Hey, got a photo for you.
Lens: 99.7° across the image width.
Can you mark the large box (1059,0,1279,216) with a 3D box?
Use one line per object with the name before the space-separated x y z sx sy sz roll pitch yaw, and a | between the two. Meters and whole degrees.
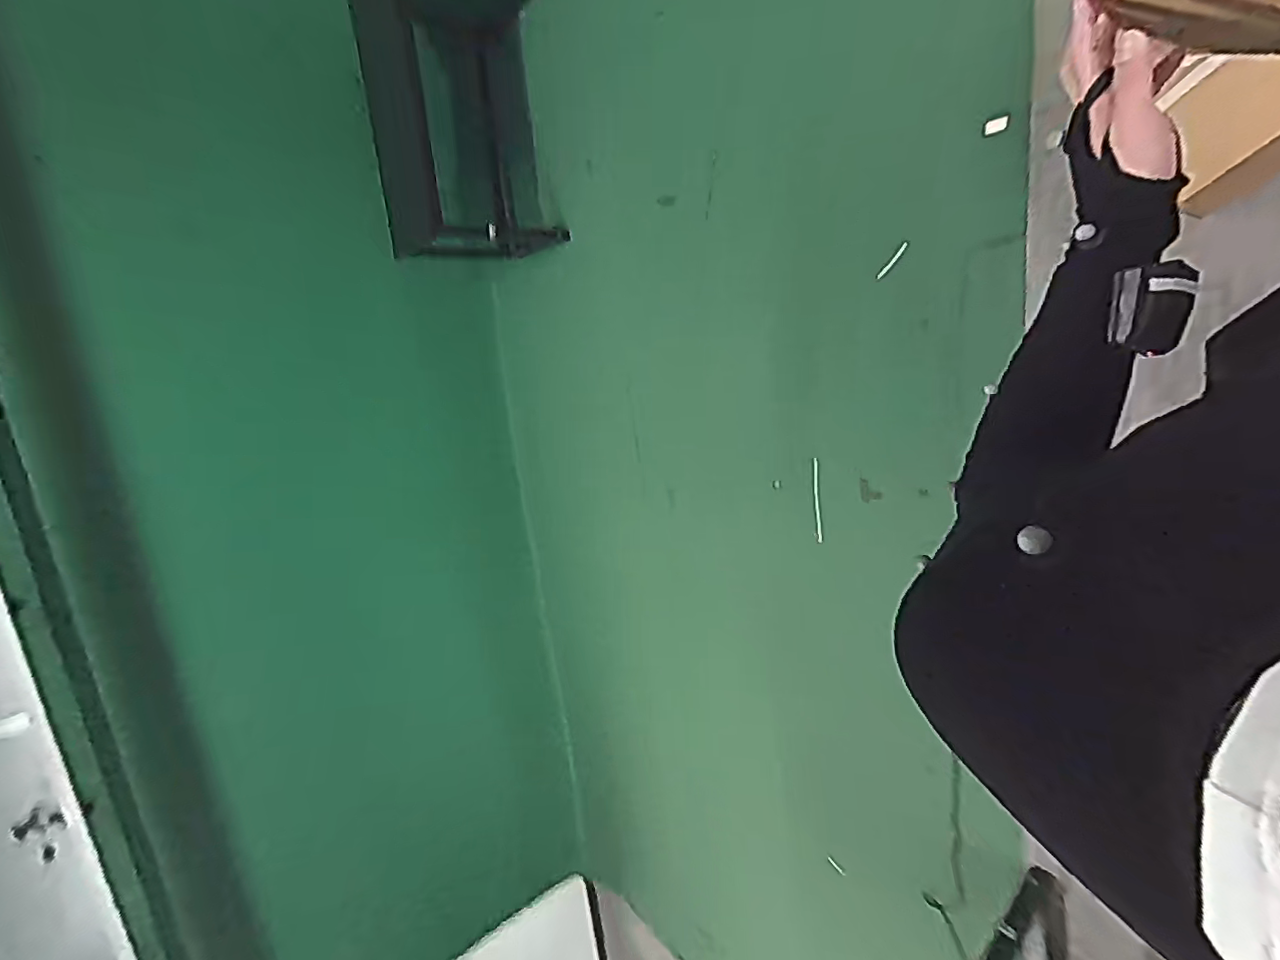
large box | 1.058 -0.728 0.917 0.408 0.320 0.320 -47 64 50
